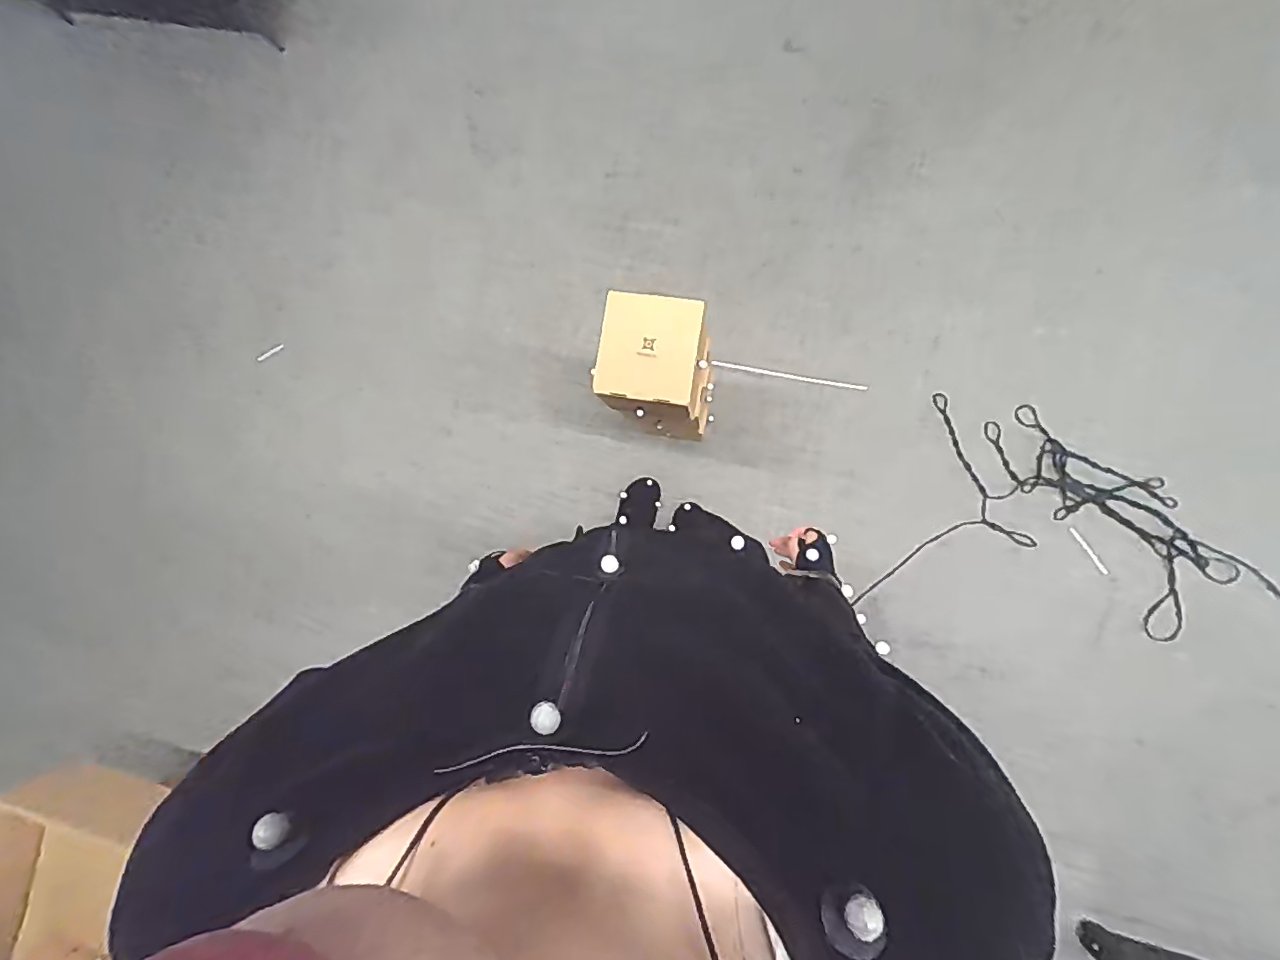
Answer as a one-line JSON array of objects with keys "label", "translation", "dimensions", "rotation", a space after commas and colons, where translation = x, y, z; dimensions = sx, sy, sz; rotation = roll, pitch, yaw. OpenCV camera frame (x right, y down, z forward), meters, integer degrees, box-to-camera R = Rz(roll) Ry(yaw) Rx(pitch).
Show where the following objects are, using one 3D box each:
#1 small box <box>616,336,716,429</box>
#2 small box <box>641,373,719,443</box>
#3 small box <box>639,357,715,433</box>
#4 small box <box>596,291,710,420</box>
[{"label": "small box", "translation": [0.059, -0.206, 1.127], "dimensions": [0.179, 0.176, 0.168], "rotation": [9, 88, 8]}, {"label": "small box", "translation": [0.110, -0.199, 1.451], "dimensions": [0.179, 0.176, 0.168], "rotation": [11, 88, 8]}, {"label": "small box", "translation": [0.079, -0.212, 1.290], "dimensions": [0.179, 0.176, 0.168], "rotation": [11, 90, 8]}, {"label": "small box", "translation": [0.030, -0.214, 0.966], "dimensions": [0.168, 0.176, 0.179], "rotation": [9, 89, 9]}]
